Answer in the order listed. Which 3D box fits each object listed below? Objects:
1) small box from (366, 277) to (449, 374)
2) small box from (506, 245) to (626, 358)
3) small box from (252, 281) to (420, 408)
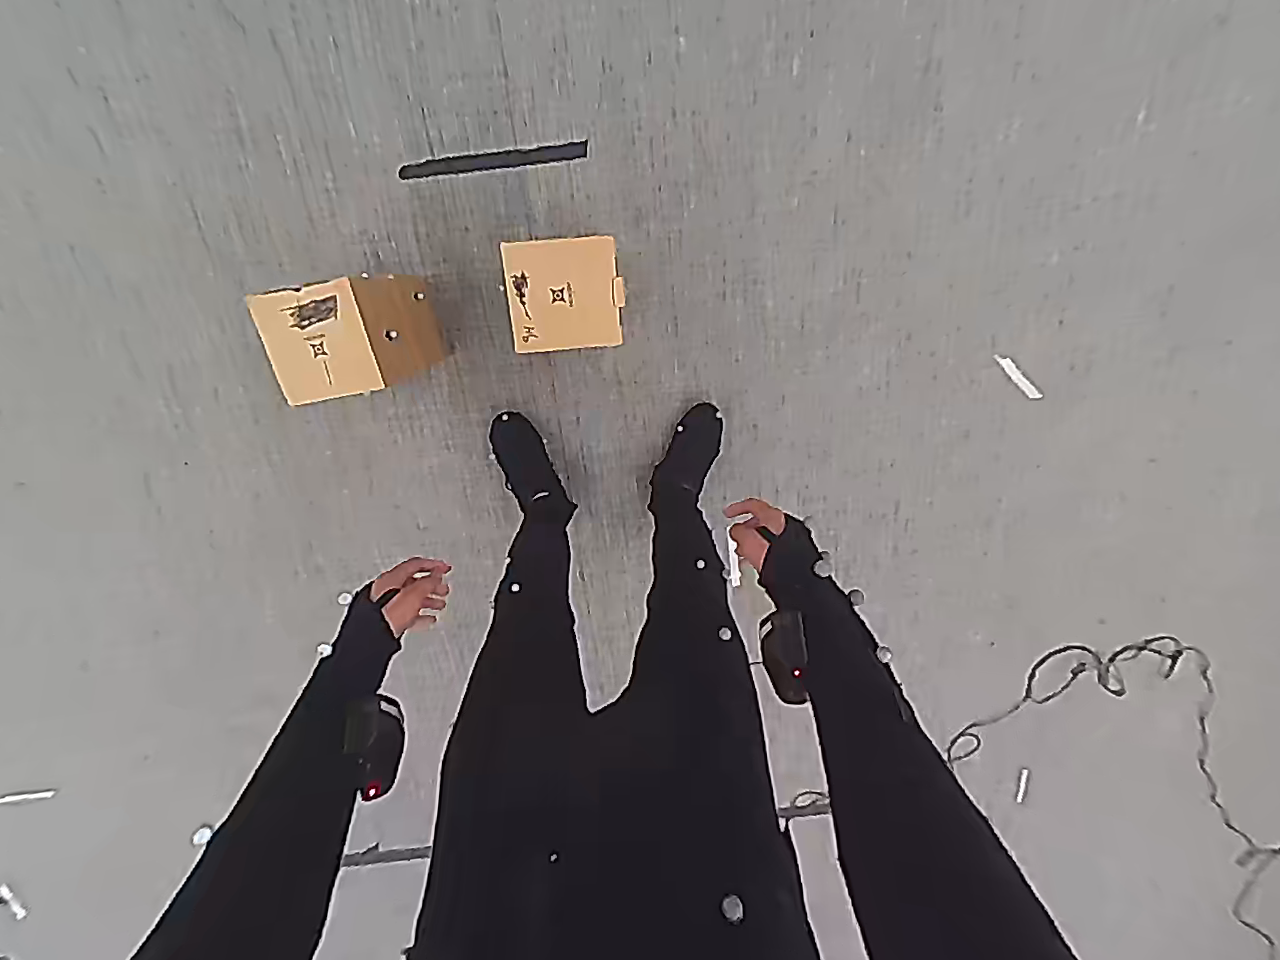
[{"bbox_3d":[-0.504,-0.296,1.078,0.168,0.176,0.179,-12,110,2],"label":"small box"},{"bbox_3d":[-0.119,-0.304,0.919,0.179,0.176,0.168,-4,109,-3],"label":"small box"},{"bbox_3d":[-0.504,-0.236,0.926,0.168,0.176,0.179,-10,110,1],"label":"small box"}]
